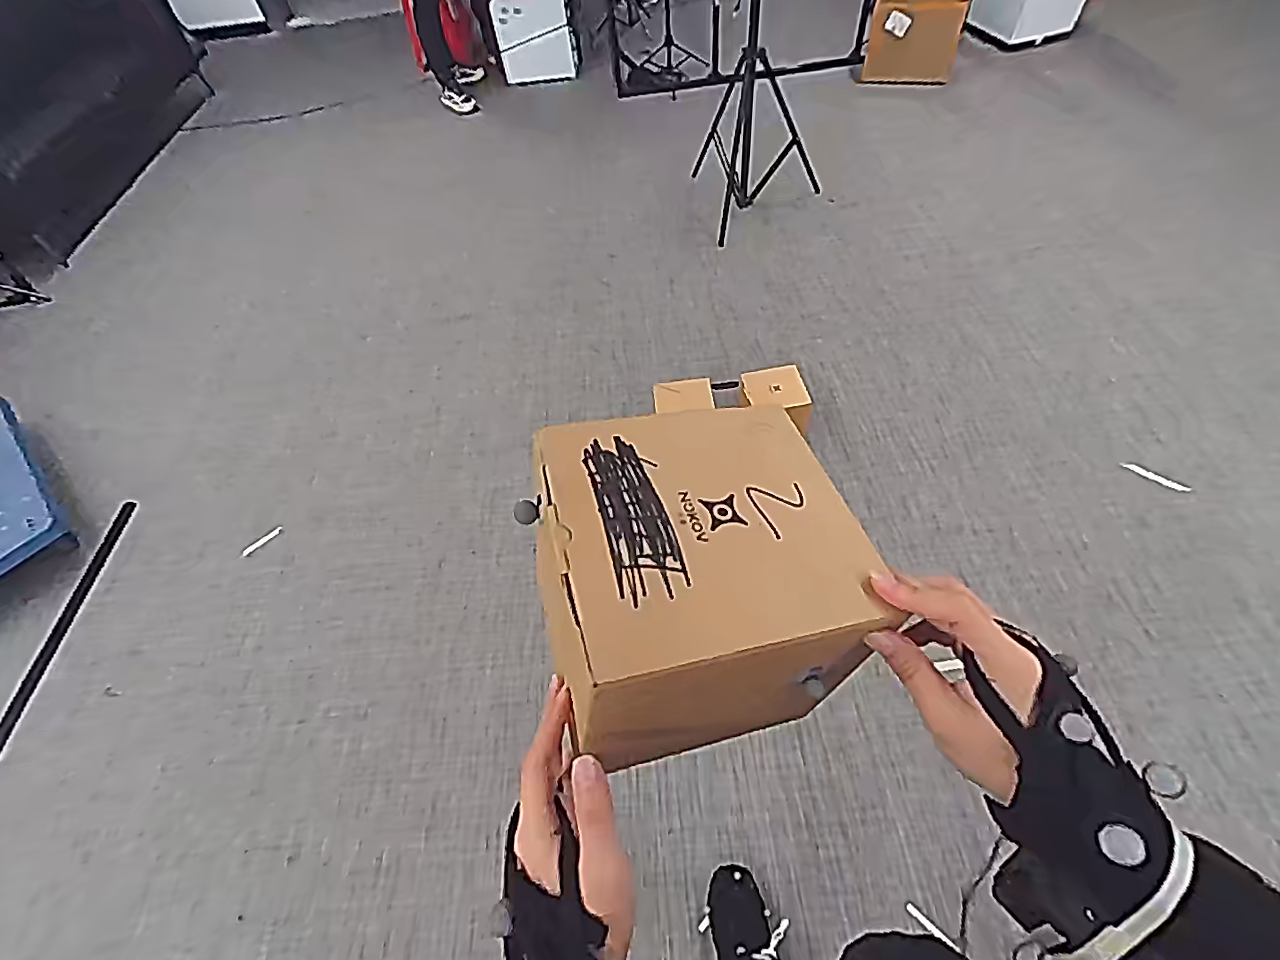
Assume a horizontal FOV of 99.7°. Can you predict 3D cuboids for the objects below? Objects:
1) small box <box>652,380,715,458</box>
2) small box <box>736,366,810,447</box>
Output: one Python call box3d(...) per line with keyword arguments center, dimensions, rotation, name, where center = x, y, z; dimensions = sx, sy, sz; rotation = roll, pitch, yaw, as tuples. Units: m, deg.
box3d(center=(0.137, -0.190, 1.677), dimensions=(0.179, 0.176, 0.168), rotation=(-6, 55, 2), name="small box")
box3d(center=(0.404, -0.223, 1.674), dimensions=(0.179, 0.176, 0.168), rotation=(-10, 55, -1), name="small box")
